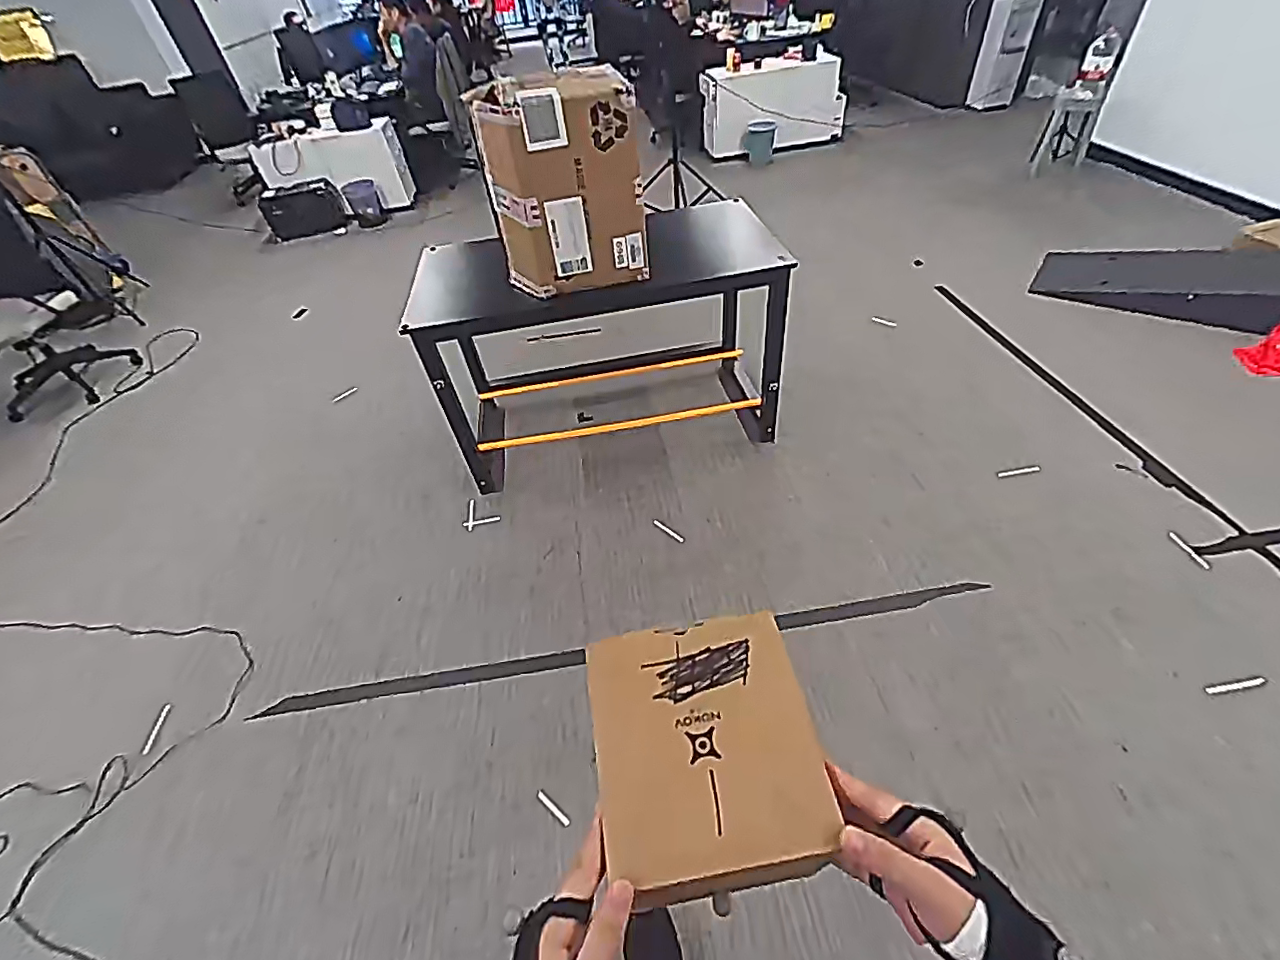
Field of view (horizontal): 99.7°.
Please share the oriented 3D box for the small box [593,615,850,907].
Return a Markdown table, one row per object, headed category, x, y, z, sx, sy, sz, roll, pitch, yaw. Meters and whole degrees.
| category | x | y | z | sx | sy | sz | roll | pitch | yaw |
| --- | --- | --- | --- | --- | --- | --- | --- | --- | --- |
| small box | 0.056 | 0.247 | 0.475 | 0.168 | 0.176 | 0.179 | -10 | 49 | -2 |
